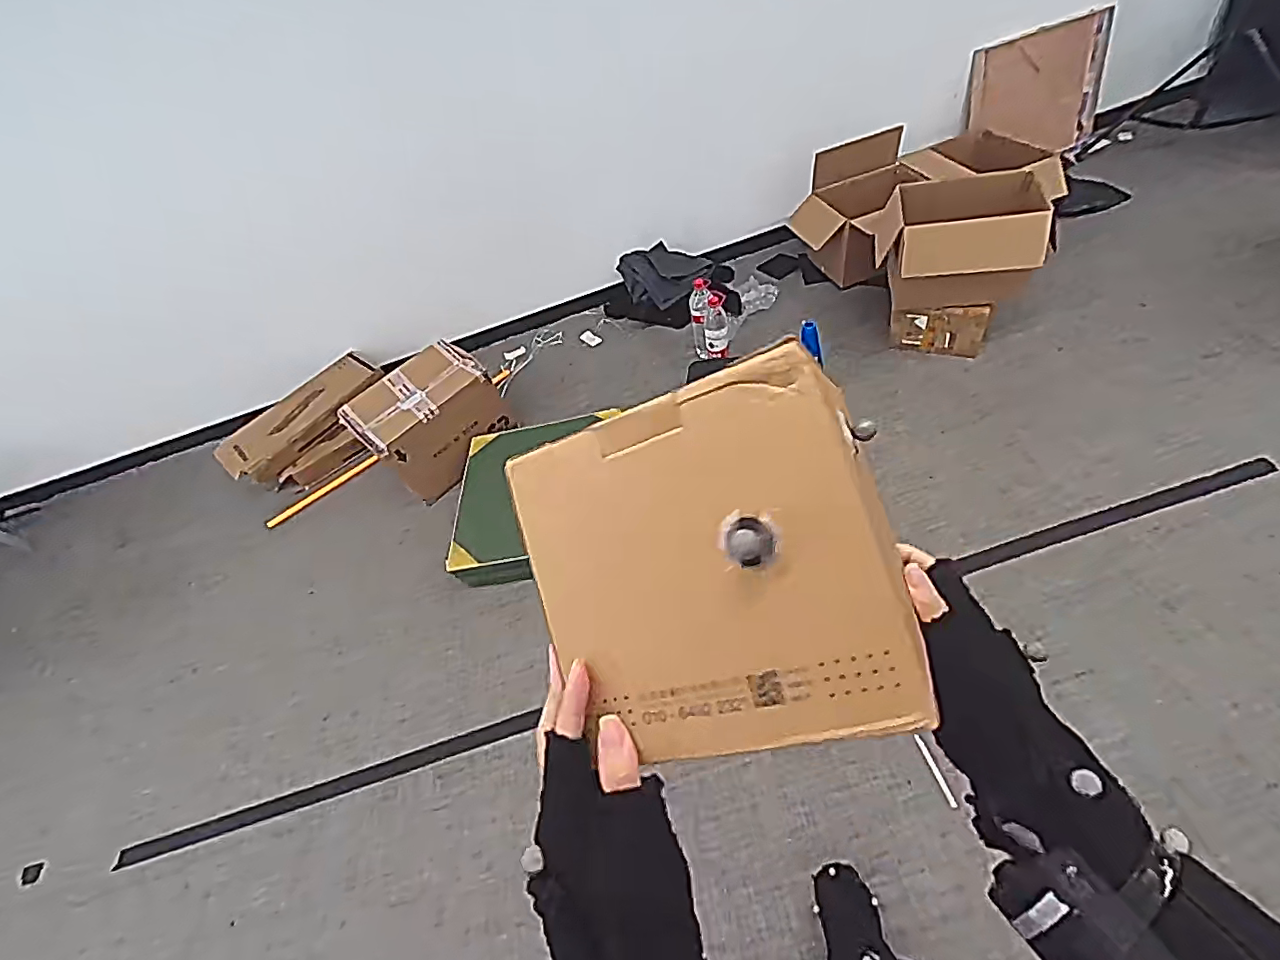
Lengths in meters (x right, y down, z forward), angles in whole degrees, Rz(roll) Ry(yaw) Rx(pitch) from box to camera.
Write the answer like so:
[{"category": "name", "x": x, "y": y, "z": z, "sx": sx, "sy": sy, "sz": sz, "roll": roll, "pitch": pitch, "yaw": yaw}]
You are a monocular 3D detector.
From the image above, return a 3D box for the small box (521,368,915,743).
[{"category": "small box", "x": 0.060, "y": 0.050, "z": 0.343, "sx": 0.168, "sy": 0.179, "sz": 0.176, "roll": -20, "pitch": 83, "yaw": 27}]
